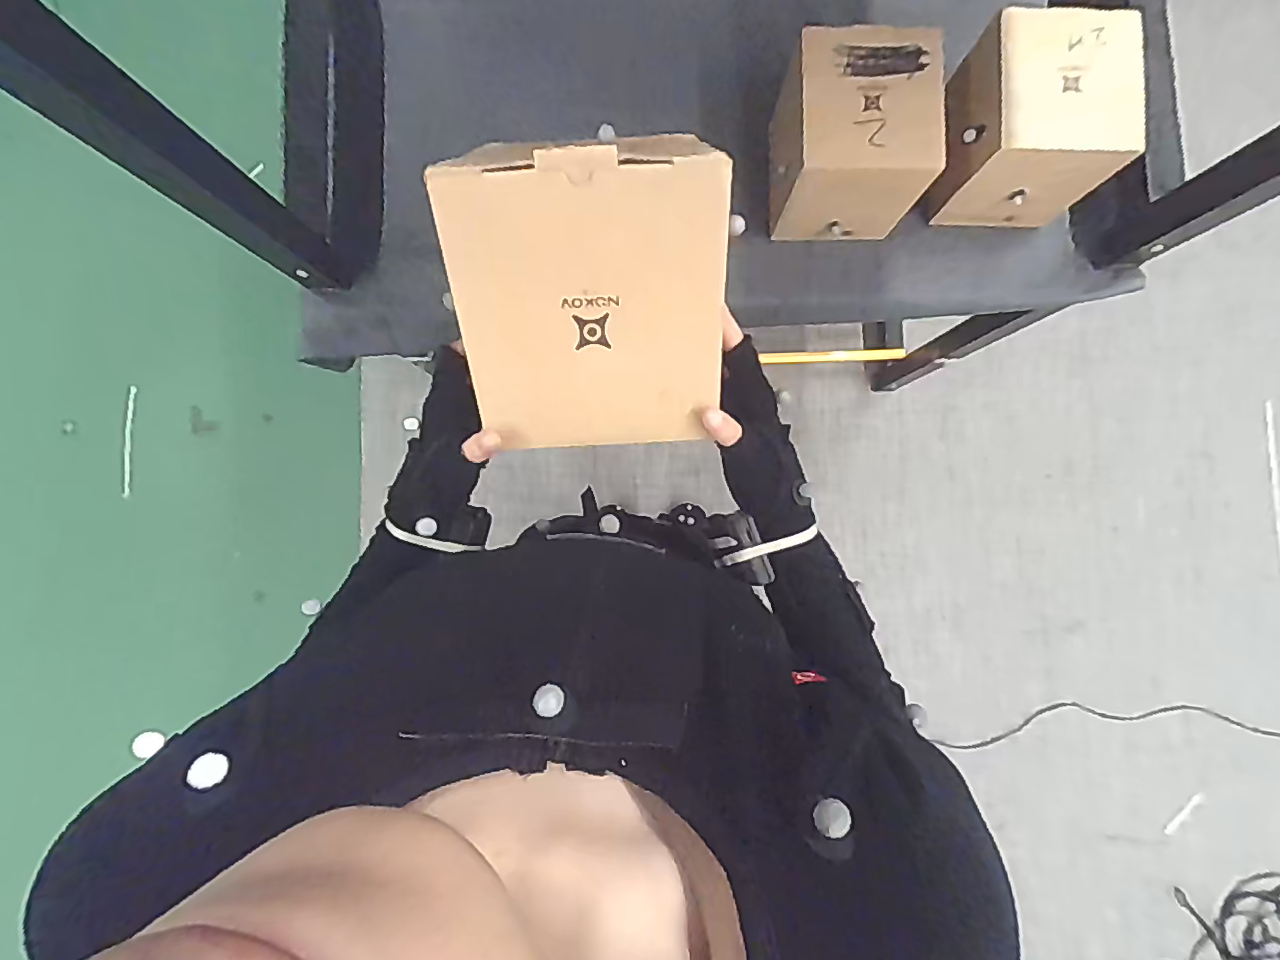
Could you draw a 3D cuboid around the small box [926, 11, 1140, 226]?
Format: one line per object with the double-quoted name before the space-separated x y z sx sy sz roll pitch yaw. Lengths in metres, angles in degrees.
"small box" 0.499 -0.458 0.709 0.168 0.176 0.179 2 86 0
